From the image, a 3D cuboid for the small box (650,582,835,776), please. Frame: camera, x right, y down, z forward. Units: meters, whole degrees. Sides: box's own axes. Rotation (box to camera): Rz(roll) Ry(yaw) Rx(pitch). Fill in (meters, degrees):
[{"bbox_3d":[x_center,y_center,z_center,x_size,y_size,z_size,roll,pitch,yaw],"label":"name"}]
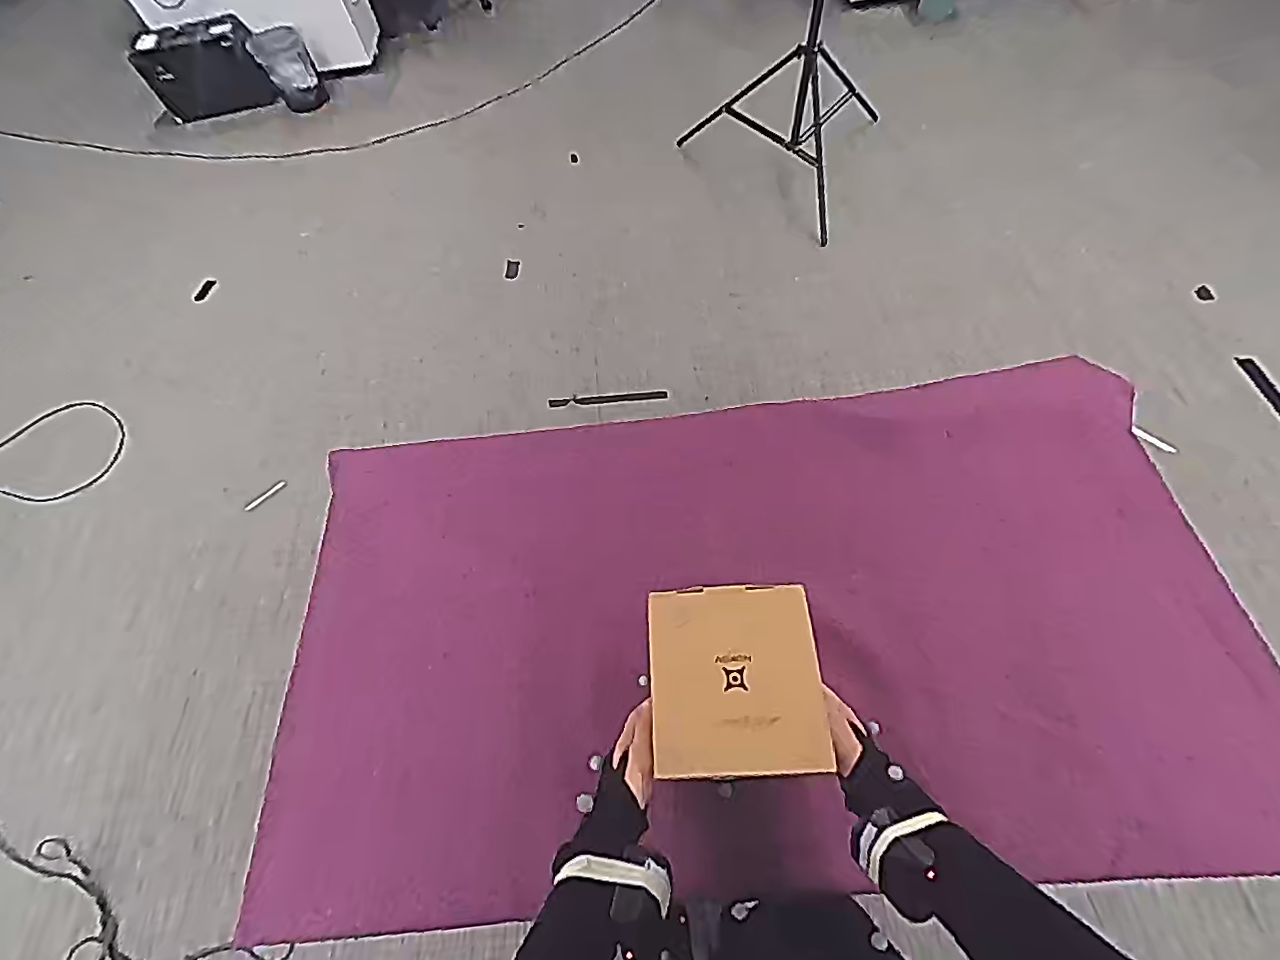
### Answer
[{"bbox_3d":[0.098,0.225,0.598,0.168,0.176,0.179,-4,61,3],"label":"small box"}]
